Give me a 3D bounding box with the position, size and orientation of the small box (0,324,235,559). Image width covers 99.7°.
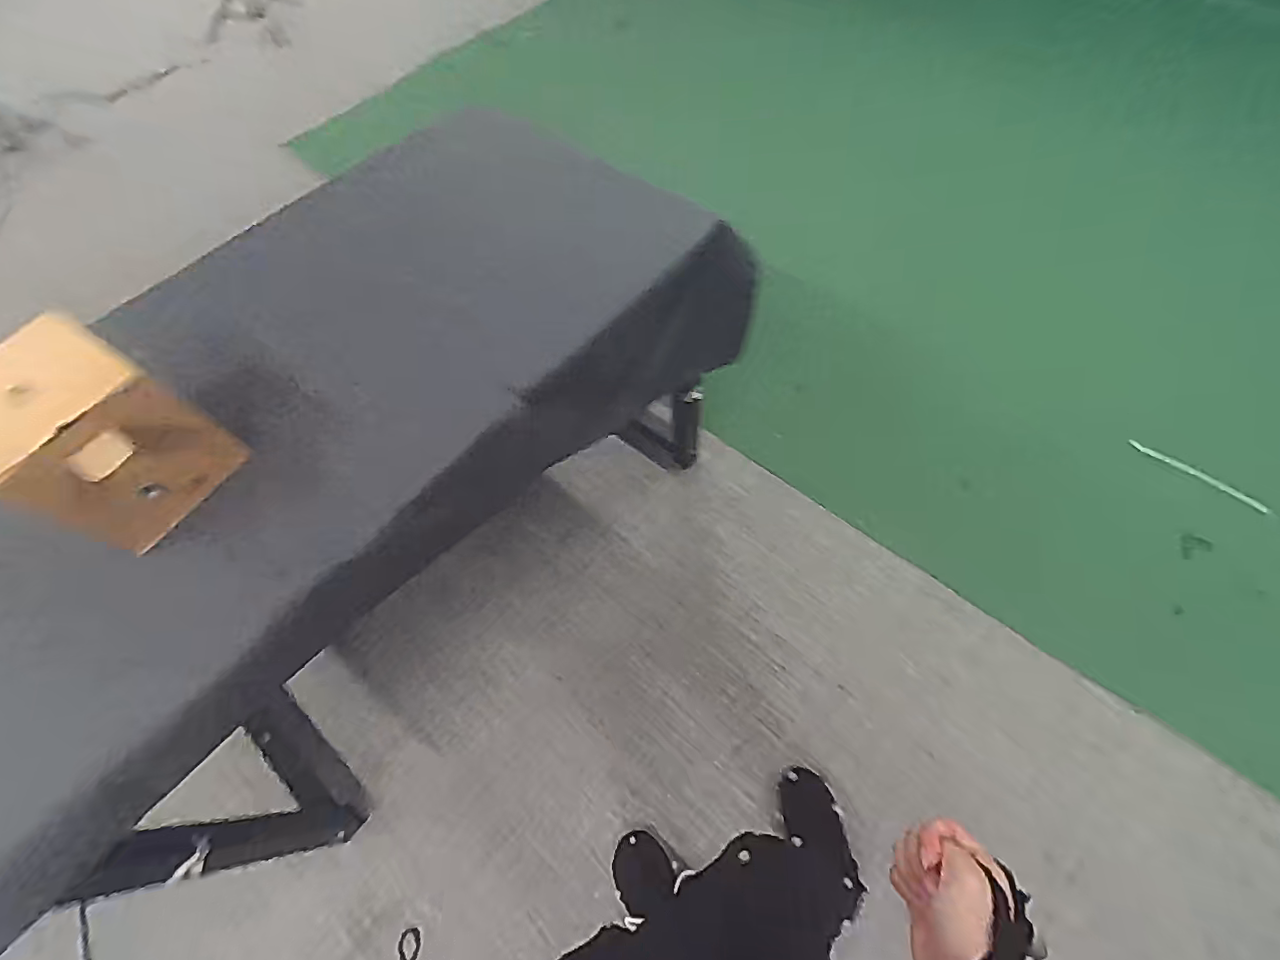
[{"bbox_3d":[-0.621,-0.036,0.605,0.179,0.176,0.168,27,67,17],"label":"small box"}]
